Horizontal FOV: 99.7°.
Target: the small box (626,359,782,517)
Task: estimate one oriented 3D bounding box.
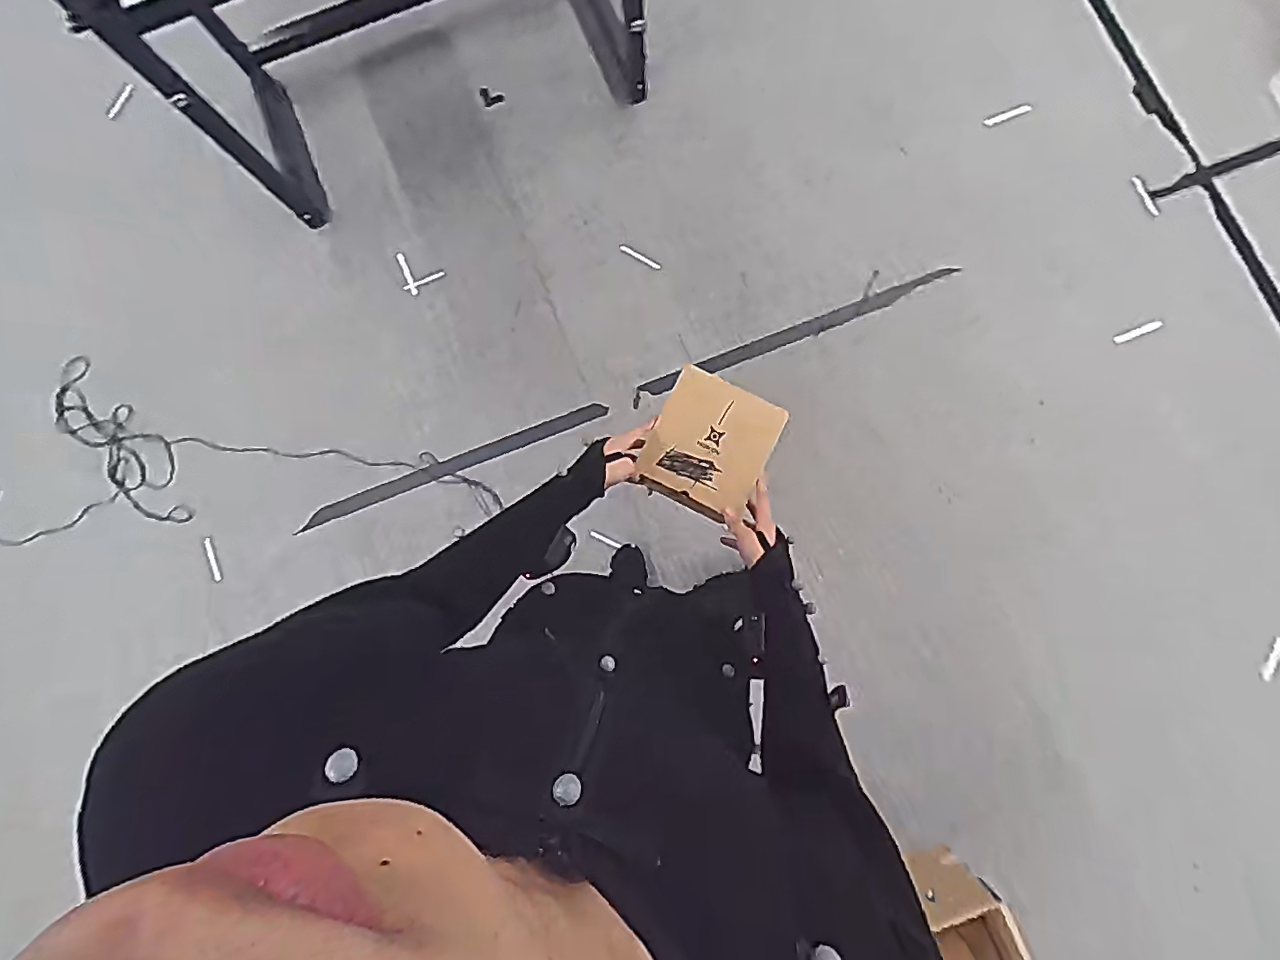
[{"bbox_3d":[0.093,-0.053,0.831,0.168,0.176,0.179,26,86,3],"label":"small box"}]
